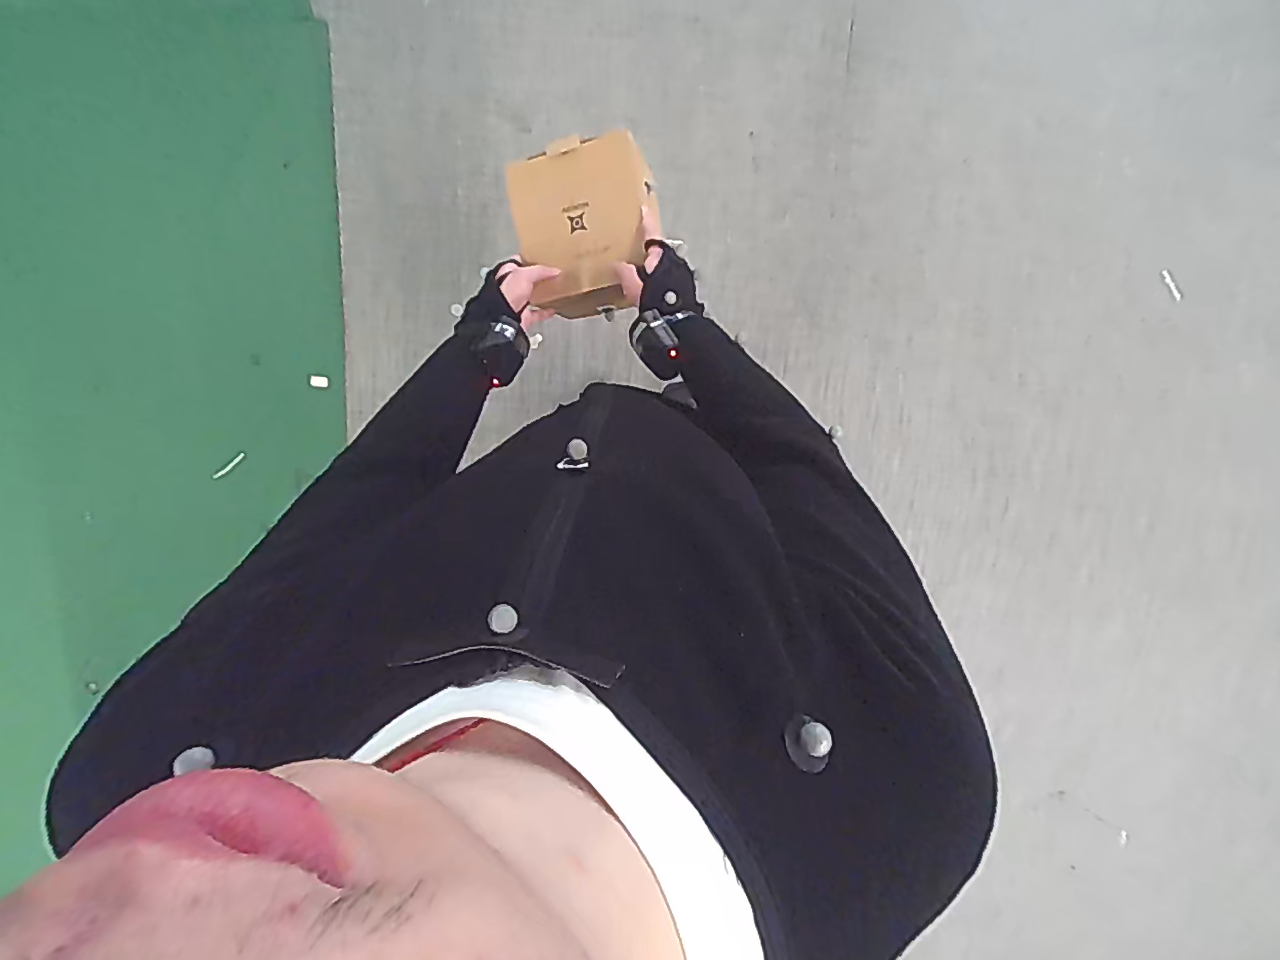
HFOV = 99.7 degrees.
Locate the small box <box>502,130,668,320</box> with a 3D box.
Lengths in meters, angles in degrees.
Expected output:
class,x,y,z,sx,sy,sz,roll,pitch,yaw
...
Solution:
class,x,y,z,sx,sy,sz,roll,pitch,yaw
small box,-0.064,-0.327,0.734,0.168,0.176,0.179,-6,98,15
